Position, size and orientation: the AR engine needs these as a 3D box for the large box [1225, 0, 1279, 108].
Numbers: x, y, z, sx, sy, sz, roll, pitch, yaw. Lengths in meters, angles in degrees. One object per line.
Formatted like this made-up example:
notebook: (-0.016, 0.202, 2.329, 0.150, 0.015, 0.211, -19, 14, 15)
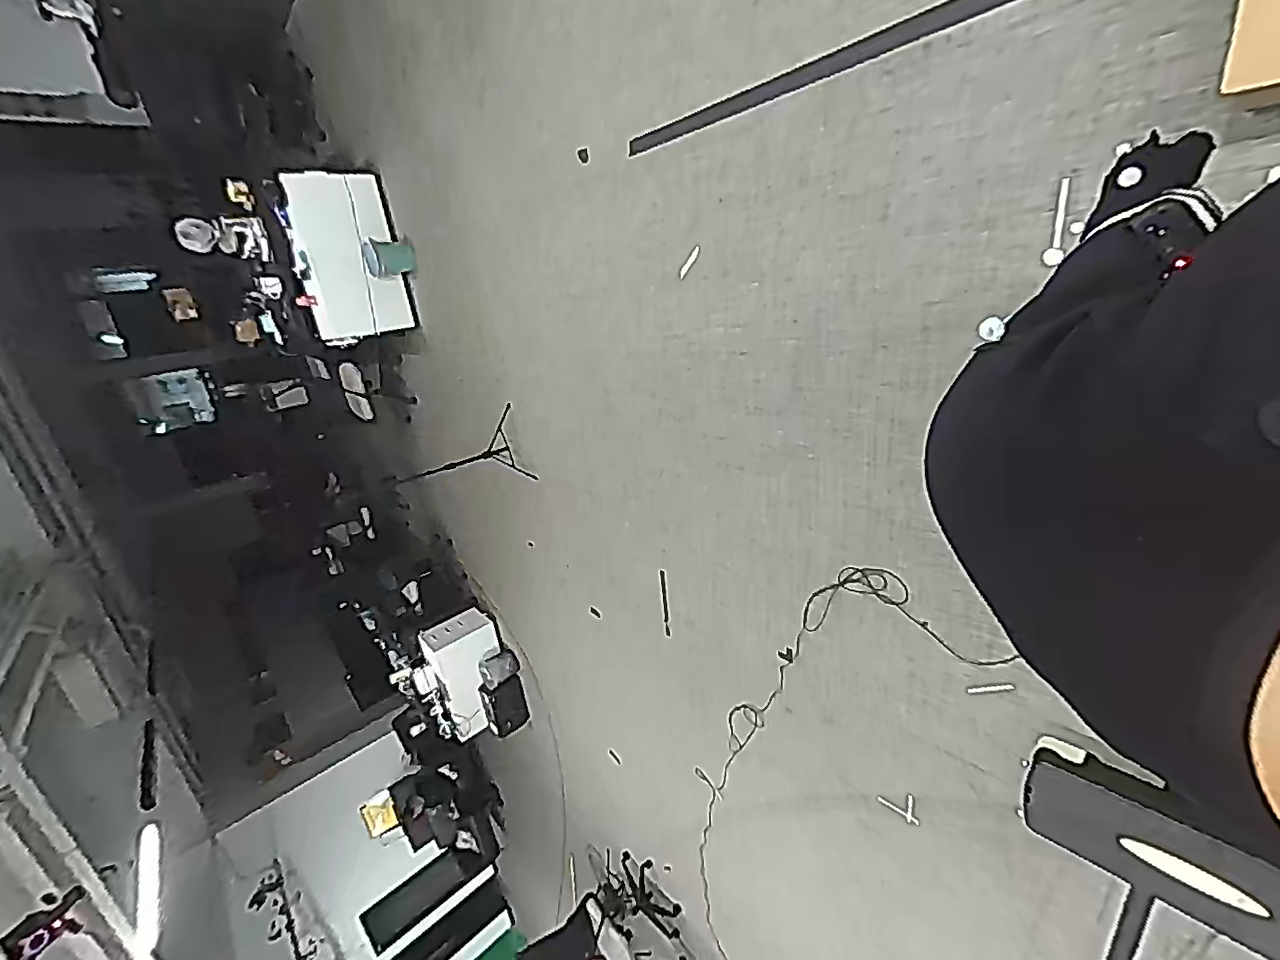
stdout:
large box: (1.024, -0.690, 0.639, 0.408, 0.320, 0.320, 16, 122, 45)
